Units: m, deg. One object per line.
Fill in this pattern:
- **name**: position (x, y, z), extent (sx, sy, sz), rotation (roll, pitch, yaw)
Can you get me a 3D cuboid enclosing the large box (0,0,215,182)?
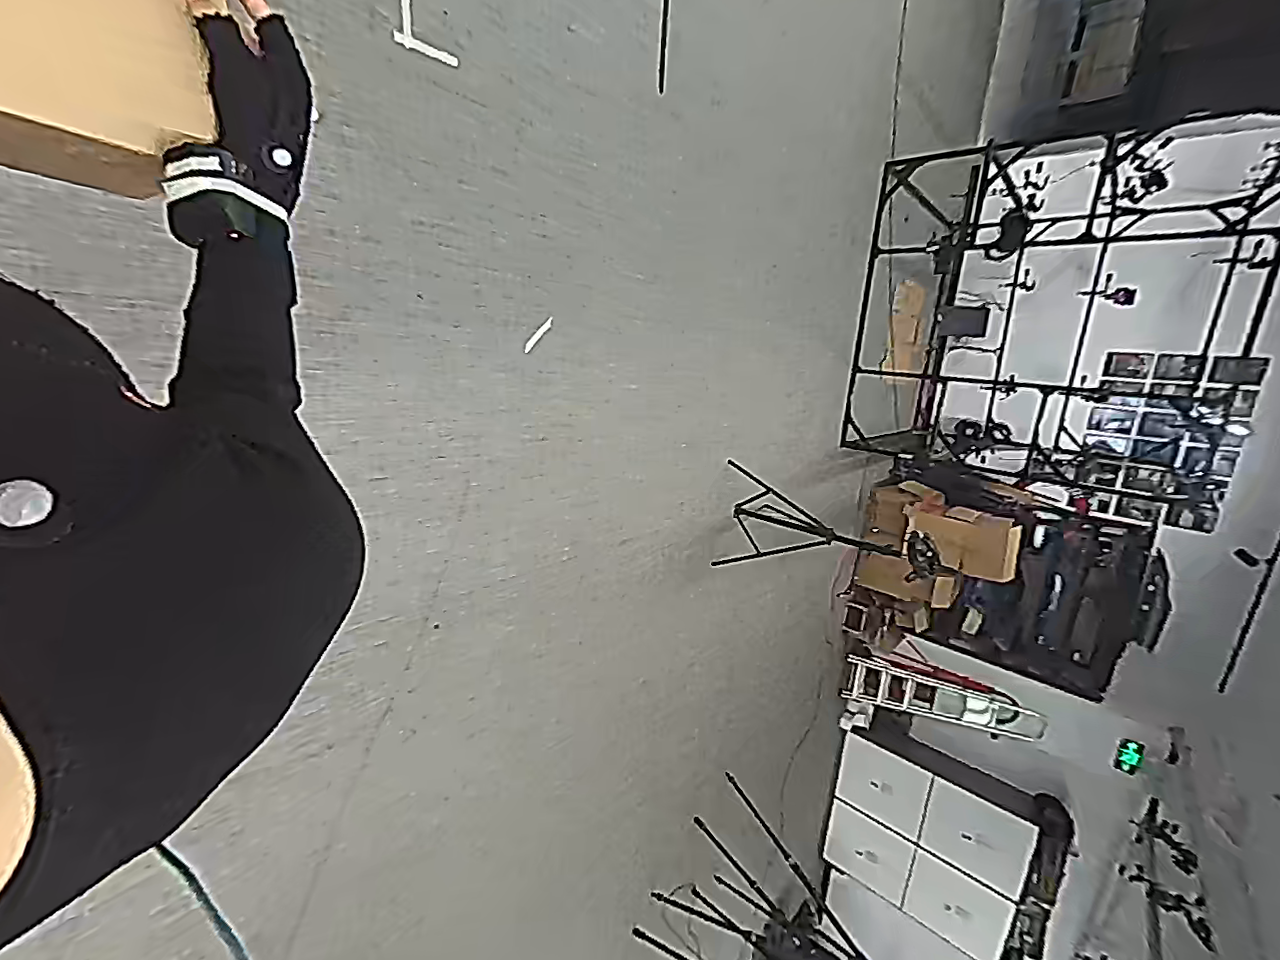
- **large box**: position (-0.573, -0.433, 0.351), extent (0.408, 0.320, 0.320), rotation (-7, 111, -51)
